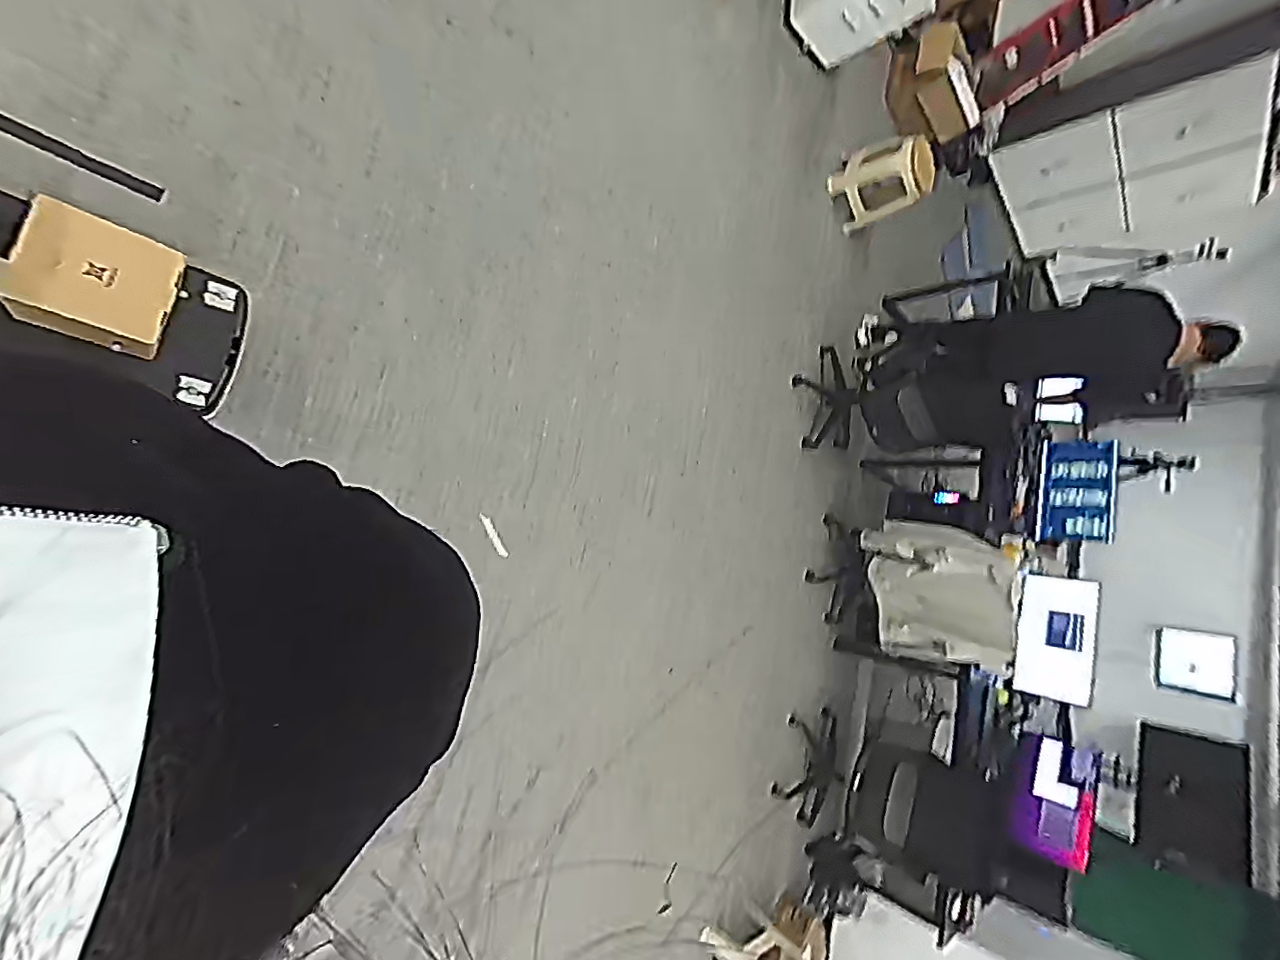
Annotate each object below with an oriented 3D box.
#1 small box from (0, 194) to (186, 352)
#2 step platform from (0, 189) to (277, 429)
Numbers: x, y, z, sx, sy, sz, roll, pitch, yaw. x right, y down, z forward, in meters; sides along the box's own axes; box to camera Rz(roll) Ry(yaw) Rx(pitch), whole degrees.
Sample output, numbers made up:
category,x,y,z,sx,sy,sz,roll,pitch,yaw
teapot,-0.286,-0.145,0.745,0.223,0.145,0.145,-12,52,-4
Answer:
category,x,y,z,sx,sy,sz,roll,pitch,yaw
small box,-0.883,-0.319,0.884,0.179,0.176,0.168,20,77,-41
step platform,-0.947,-0.296,0.770,0.684,0.204,0.286,18,78,-44
